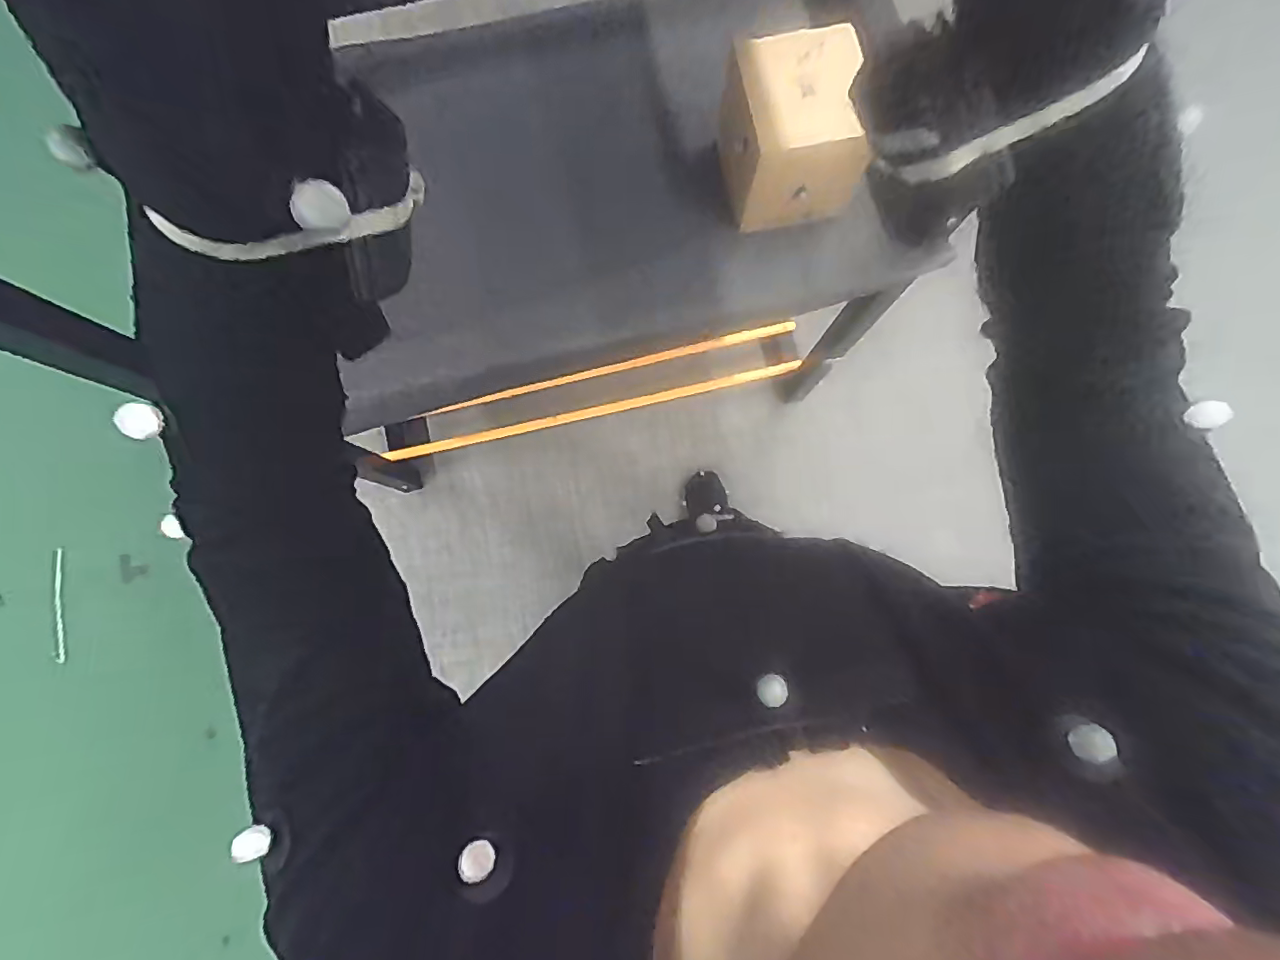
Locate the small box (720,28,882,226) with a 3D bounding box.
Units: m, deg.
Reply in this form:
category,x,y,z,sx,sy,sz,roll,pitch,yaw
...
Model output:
category,x,y,z,sx,sy,sz,roll,pitch,yaw
small box,0.221,-0.496,0.789,0.168,0.176,0.179,-10,79,-1
